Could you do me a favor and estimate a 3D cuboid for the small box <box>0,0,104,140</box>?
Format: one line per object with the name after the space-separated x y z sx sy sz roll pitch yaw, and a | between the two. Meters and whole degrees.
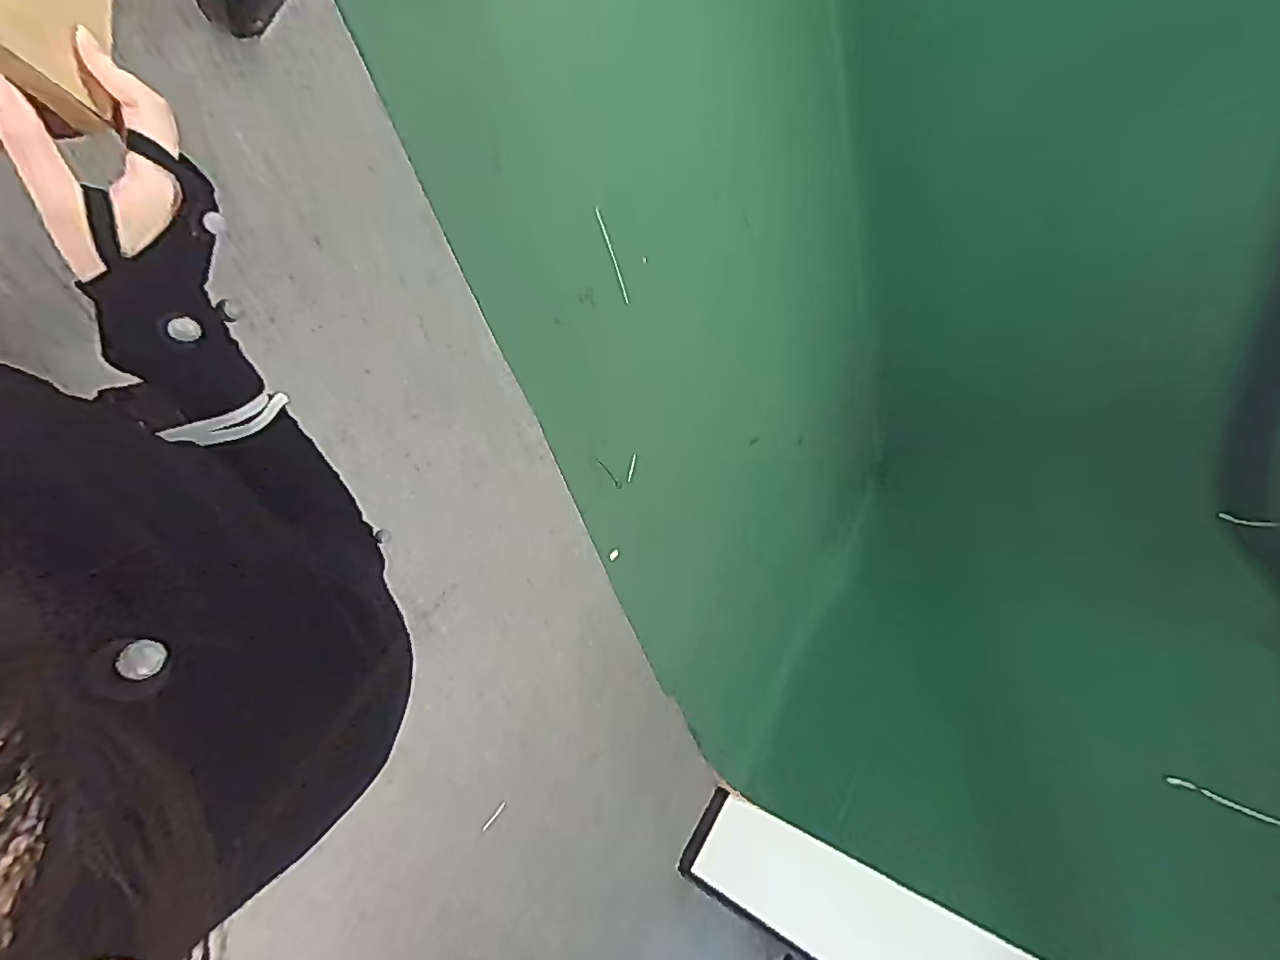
-0.388 -0.277 0.229 0.179 0.168 0.176 38 45 -80 | small box
